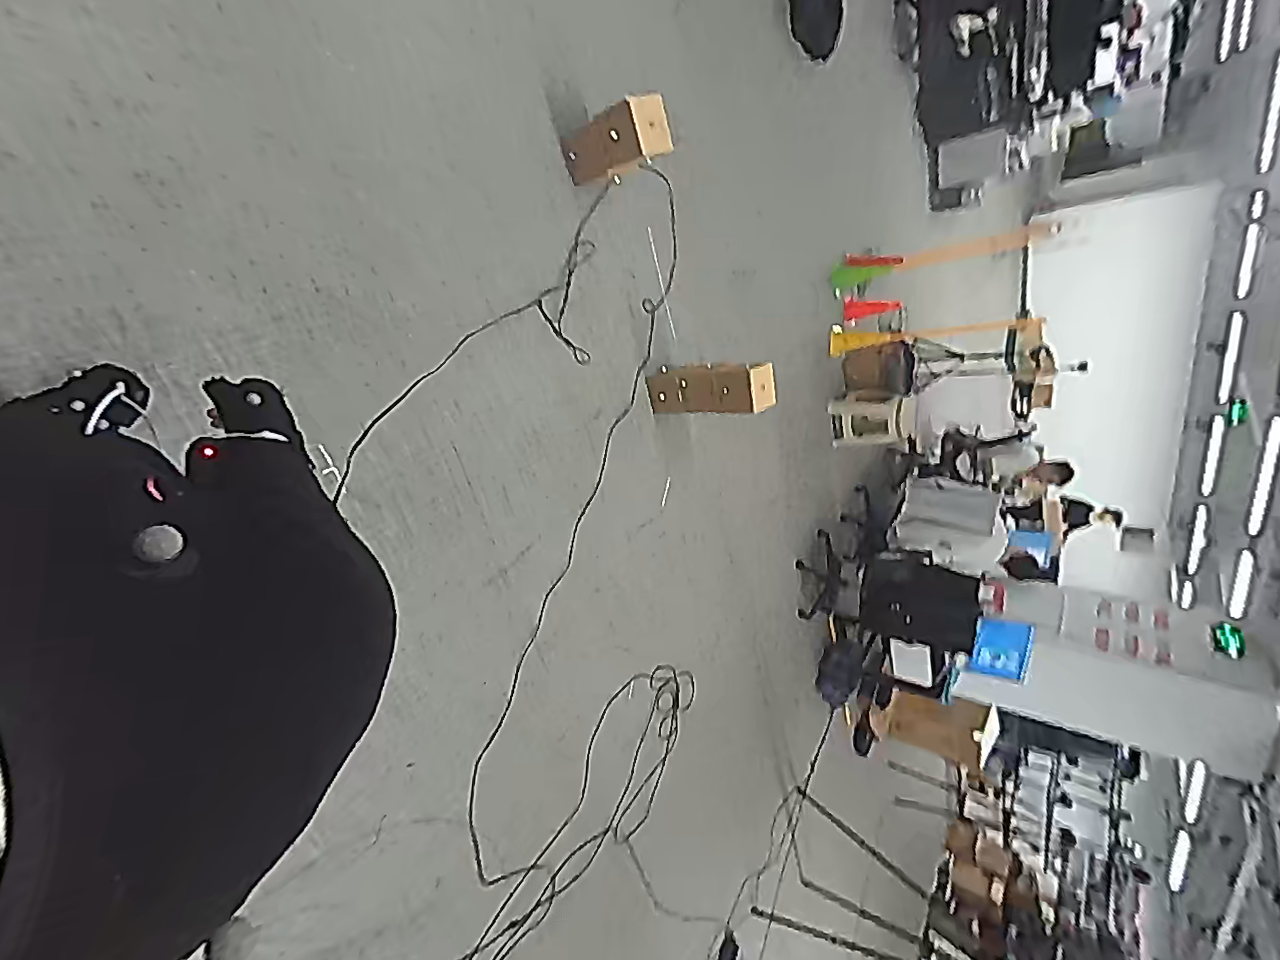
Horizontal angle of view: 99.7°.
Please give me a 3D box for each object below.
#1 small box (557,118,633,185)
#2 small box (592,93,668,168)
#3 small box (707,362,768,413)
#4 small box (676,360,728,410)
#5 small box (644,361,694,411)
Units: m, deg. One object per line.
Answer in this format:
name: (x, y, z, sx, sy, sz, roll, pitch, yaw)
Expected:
small box: (-0.159, -1.159, 1.904, 0.179, 0.176, 0.168, -40, 122, -39)
small box: (-0.040, -1.154, 1.790, 0.179, 0.176, 0.168, -40, 123, -39)
small box: (0.385, -0.367, 2.128, 0.179, 0.176, 0.168, -28, 116, -43)
small box: (0.261, -0.389, 2.231, 0.179, 0.176, 0.168, -35, 120, -42)
small box: (0.132, -0.405, 2.335, 0.179, 0.176, 0.168, -37, 125, -39)
